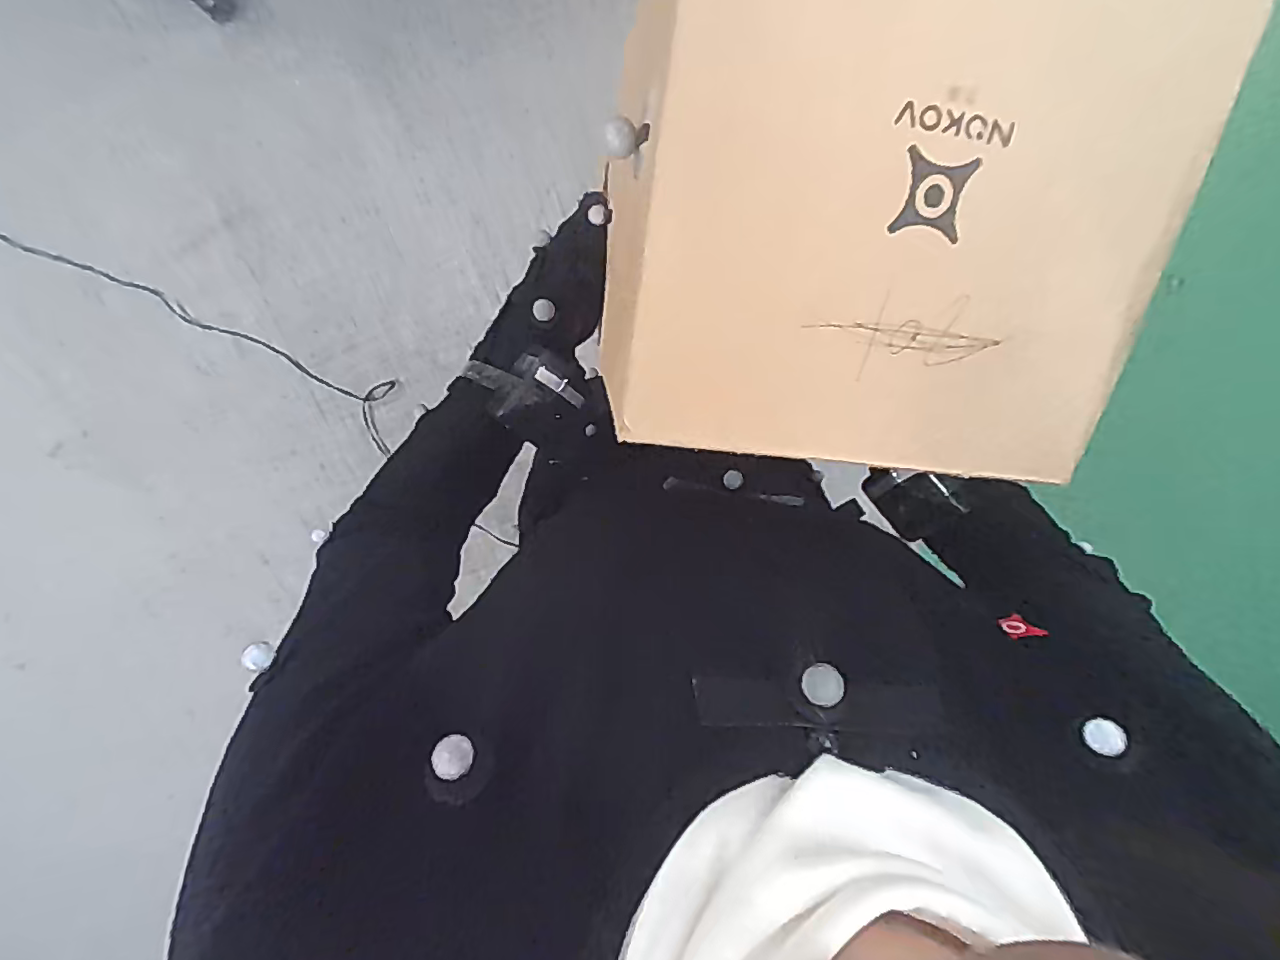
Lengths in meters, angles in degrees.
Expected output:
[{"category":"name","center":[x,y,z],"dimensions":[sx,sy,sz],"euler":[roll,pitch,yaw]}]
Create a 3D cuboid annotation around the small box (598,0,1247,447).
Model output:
[{"category":"small box","center":[0.073,-0.127,0.229],"dimensions":[0.168,0.176,0.179],"euler":[5,110,-8]}]
